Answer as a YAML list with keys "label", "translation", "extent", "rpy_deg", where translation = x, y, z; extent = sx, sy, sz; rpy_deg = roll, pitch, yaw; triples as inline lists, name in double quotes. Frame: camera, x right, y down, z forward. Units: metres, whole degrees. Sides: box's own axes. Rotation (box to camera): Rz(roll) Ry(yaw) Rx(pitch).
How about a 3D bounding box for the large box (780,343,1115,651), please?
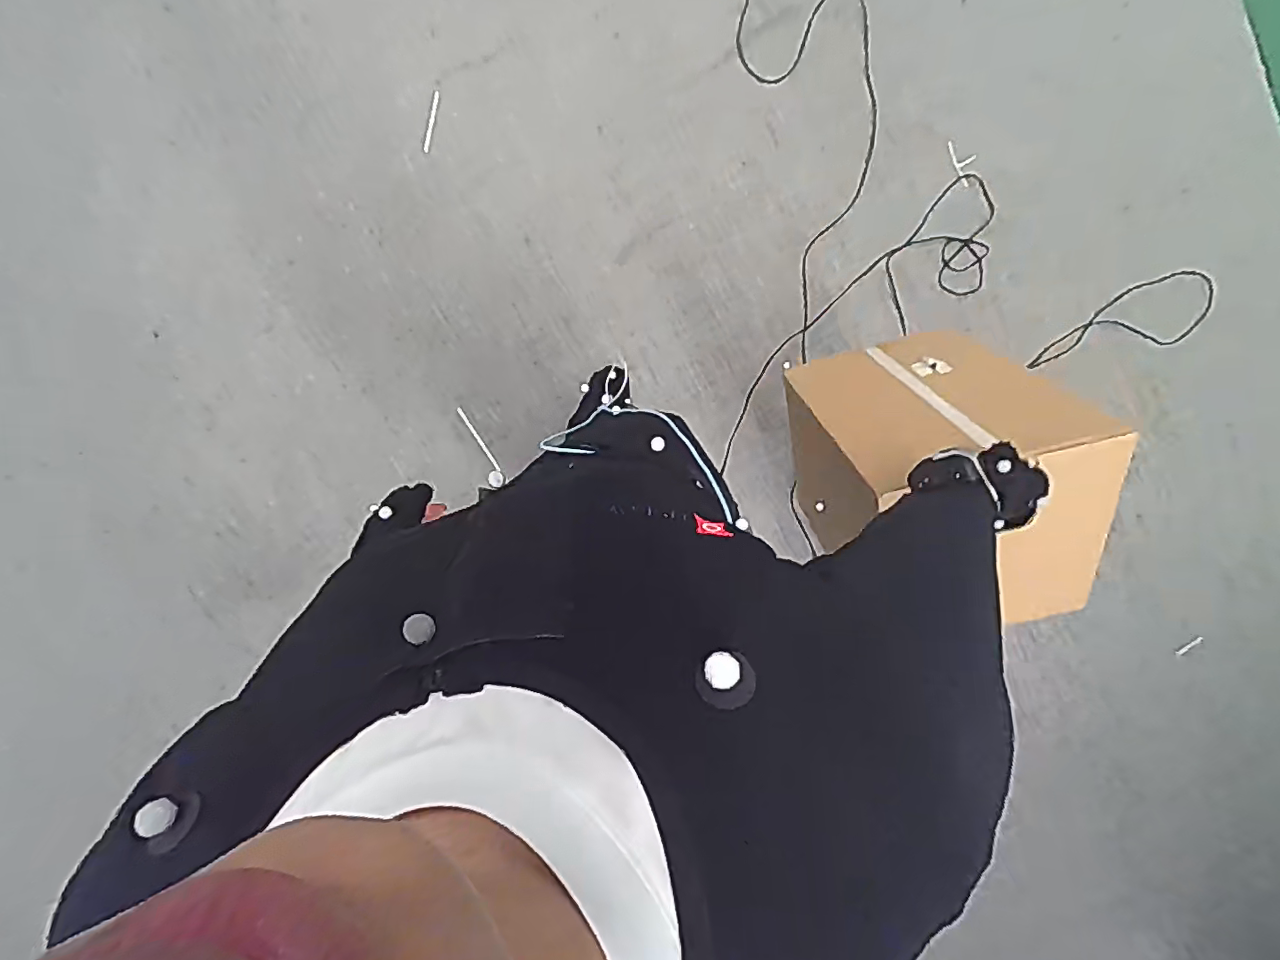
- label: "large box"
  translation: [0.461, 0.009, 0.917]
  extent: [0.320, 0.408, 0.320]
  rpy_deg: [-13, 122, 3]
